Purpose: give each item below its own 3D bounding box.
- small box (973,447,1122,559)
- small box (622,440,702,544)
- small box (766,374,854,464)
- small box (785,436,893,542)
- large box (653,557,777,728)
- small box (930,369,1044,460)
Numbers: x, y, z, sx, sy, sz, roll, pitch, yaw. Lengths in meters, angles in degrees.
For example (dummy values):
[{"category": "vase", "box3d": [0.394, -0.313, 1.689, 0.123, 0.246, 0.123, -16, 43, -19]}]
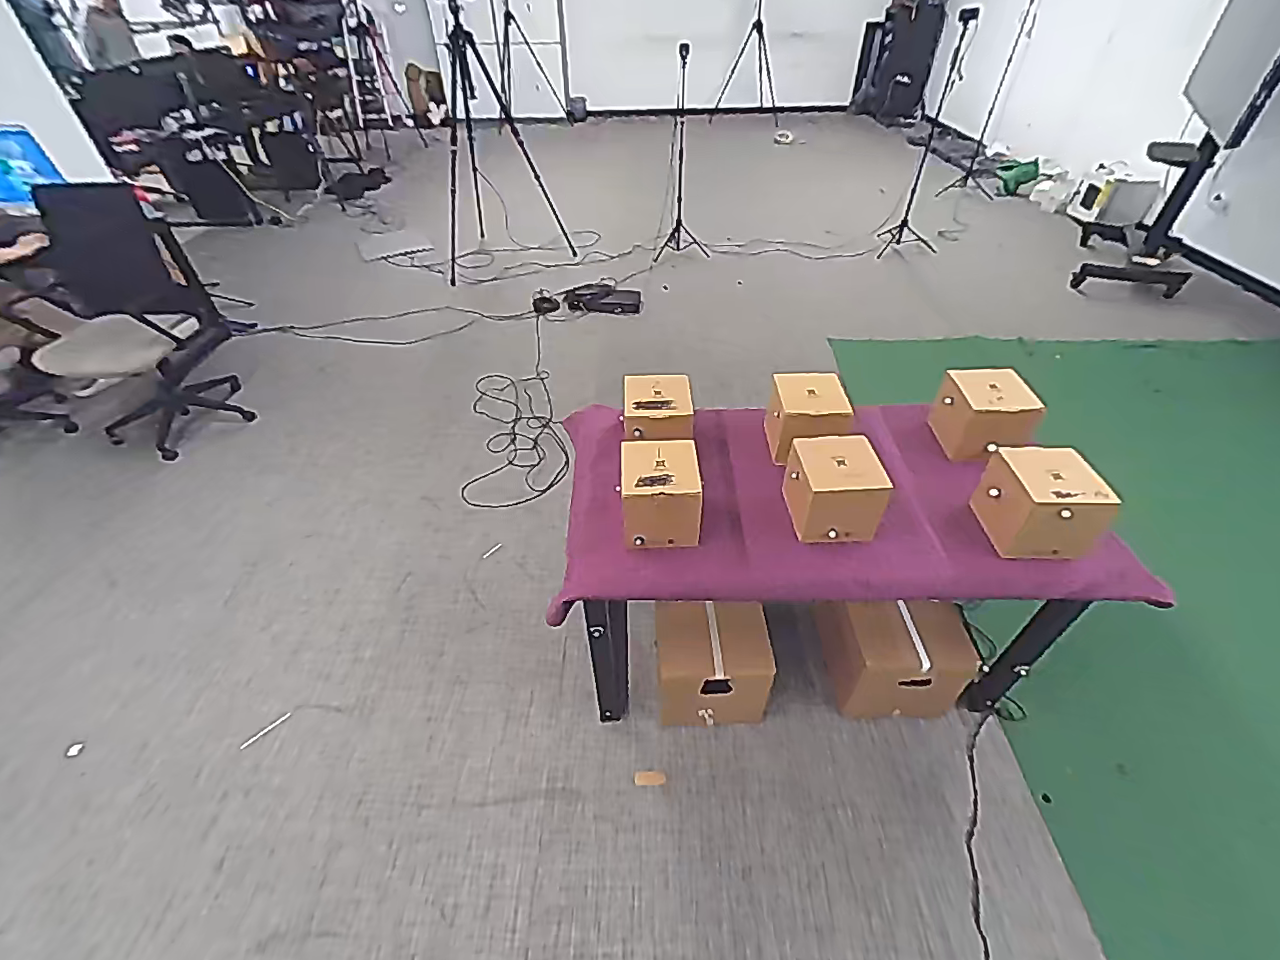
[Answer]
[{"category": "small box", "box3d": [0.854, 0.047, 1.159, 0.168, 0.176, 0.179, 0, 40, 4]}, {"category": "small box", "box3d": [0.047, 0.031, 1.204, 0.168, 0.176, 0.179, -2, 41, -1]}, {"category": "small box", "box3d": [0.429, -0.157, 1.398, 0.168, 0.176, 0.179, 0, 44, 1]}, {"category": "small box", "box3d": [0.431, 0.020, 1.206, 0.168, 0.176, 0.179, -2, 42, 1]}, {"category": "large box", "box3d": [0.207, 0.496, 1.671, 0.320, 0.320, 0.408, -2, 42, -1]}, {"category": "small box", "box3d": [0.877, -0.167, 1.388, 0.168, 0.176, 0.179, -1, 44, 4]}]
